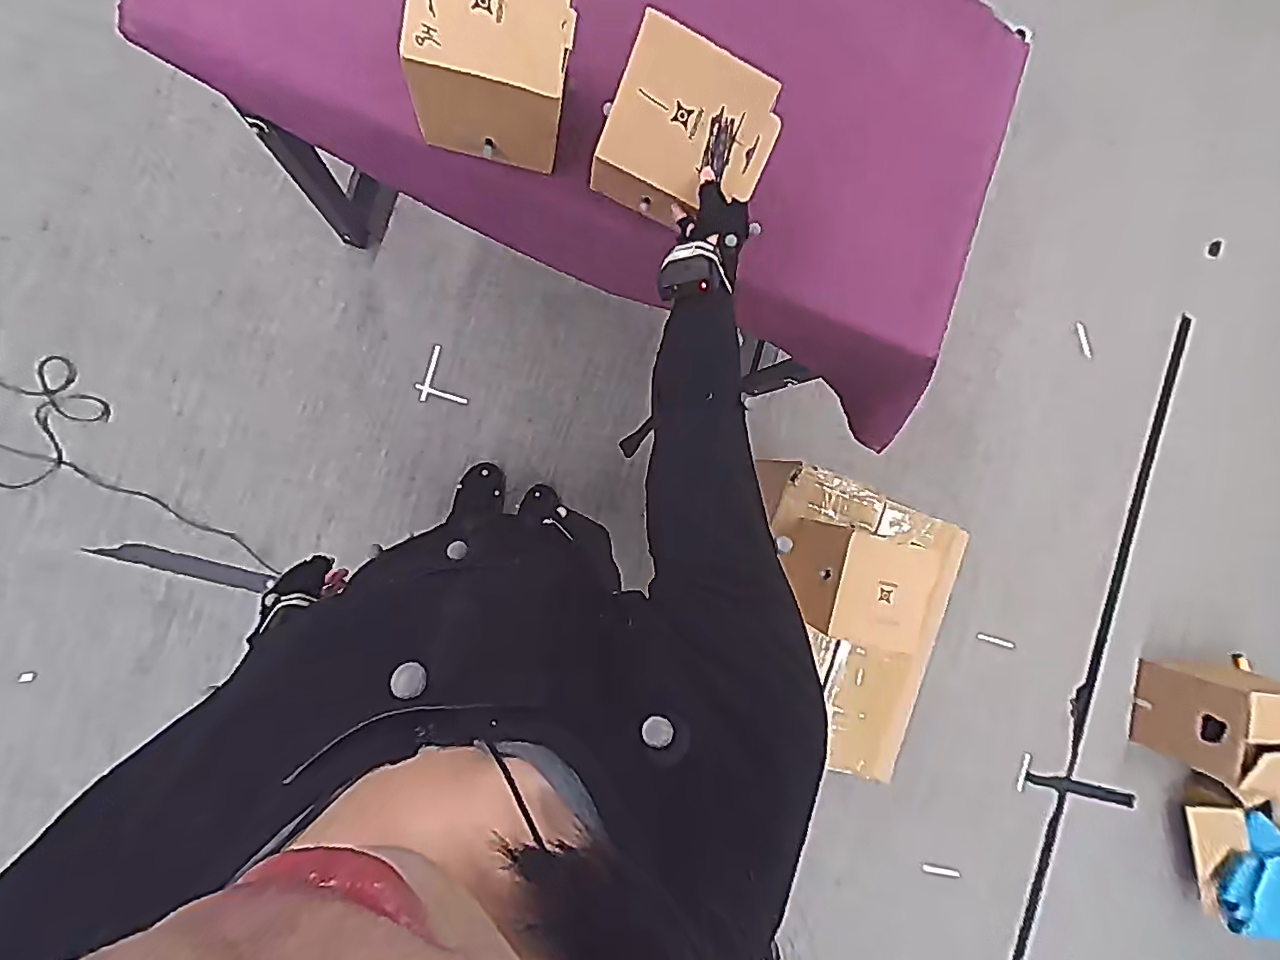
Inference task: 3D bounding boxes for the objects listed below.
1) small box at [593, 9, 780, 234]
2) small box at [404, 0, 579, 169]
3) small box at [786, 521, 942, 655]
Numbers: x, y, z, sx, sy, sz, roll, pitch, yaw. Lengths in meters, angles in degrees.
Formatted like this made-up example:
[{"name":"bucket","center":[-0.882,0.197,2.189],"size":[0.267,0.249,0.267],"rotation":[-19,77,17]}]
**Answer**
[{"name":"small box","center":[0.048,-0.446,0.712],"size":[0.179,0.176,0.168],"rotation":[21,101,-12]},{"name":"small box","center":[-0.180,-0.526,0.678],"size":[0.179,0.176,0.168],"rotation":[7,89,-14]},{"name":"small box","center":[0.371,0.174,0.925],"size":[0.168,0.176,0.179],"rotation":[13,90,-10]}]
